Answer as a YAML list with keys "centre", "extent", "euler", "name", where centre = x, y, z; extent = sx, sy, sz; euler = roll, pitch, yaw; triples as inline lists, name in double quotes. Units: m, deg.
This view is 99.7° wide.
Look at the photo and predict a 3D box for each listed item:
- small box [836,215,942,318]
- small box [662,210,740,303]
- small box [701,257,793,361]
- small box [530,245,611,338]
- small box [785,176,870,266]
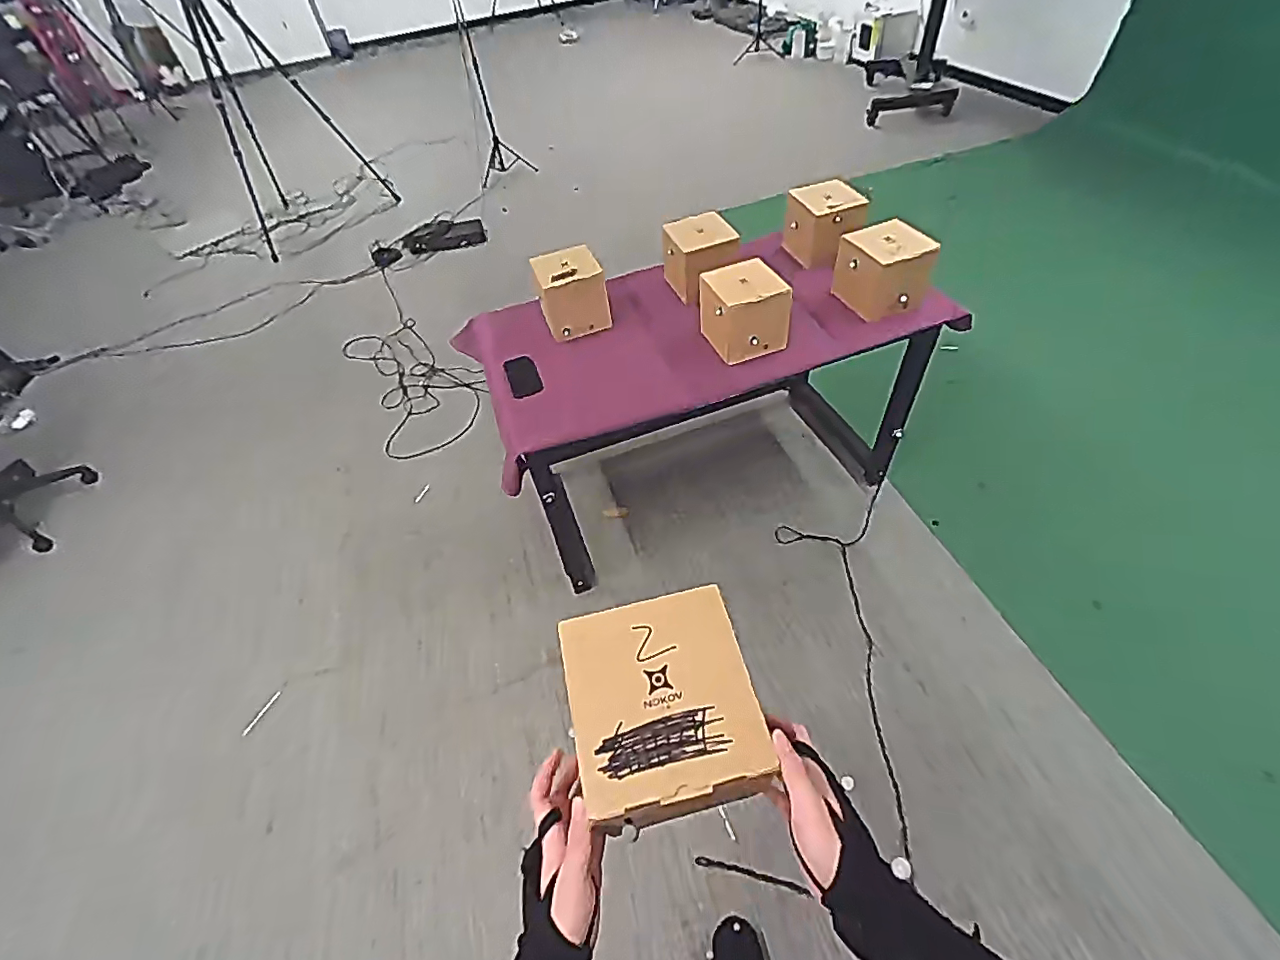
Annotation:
- centre: [0.631, -0.552, 1.401]
  extent: [0.168, 0.176, 0.179]
  euler: [-21, 51, -7]
  name: "small box"
- centre: [0.172, -0.636, 1.546]
  extent: [0.168, 0.176, 0.179]
  euler: [-19, 51, -6]
  name: "small box"
- centre: [0.261, -0.429, 1.360]
  extent: [0.168, 0.176, 0.179]
  euler: [-19, 50, -8]
  name: "small box"
- centre: [-0.188, -0.514, 1.494]
  extent: [0.168, 0.176, 0.179]
  euler: [-20, 50, -8]
  name: "small box"
- centre: [0.541, -0.760, 1.591]
  extent: [0.168, 0.176, 0.179]
  euler: [-18, 50, -6]
  name: "small box"
